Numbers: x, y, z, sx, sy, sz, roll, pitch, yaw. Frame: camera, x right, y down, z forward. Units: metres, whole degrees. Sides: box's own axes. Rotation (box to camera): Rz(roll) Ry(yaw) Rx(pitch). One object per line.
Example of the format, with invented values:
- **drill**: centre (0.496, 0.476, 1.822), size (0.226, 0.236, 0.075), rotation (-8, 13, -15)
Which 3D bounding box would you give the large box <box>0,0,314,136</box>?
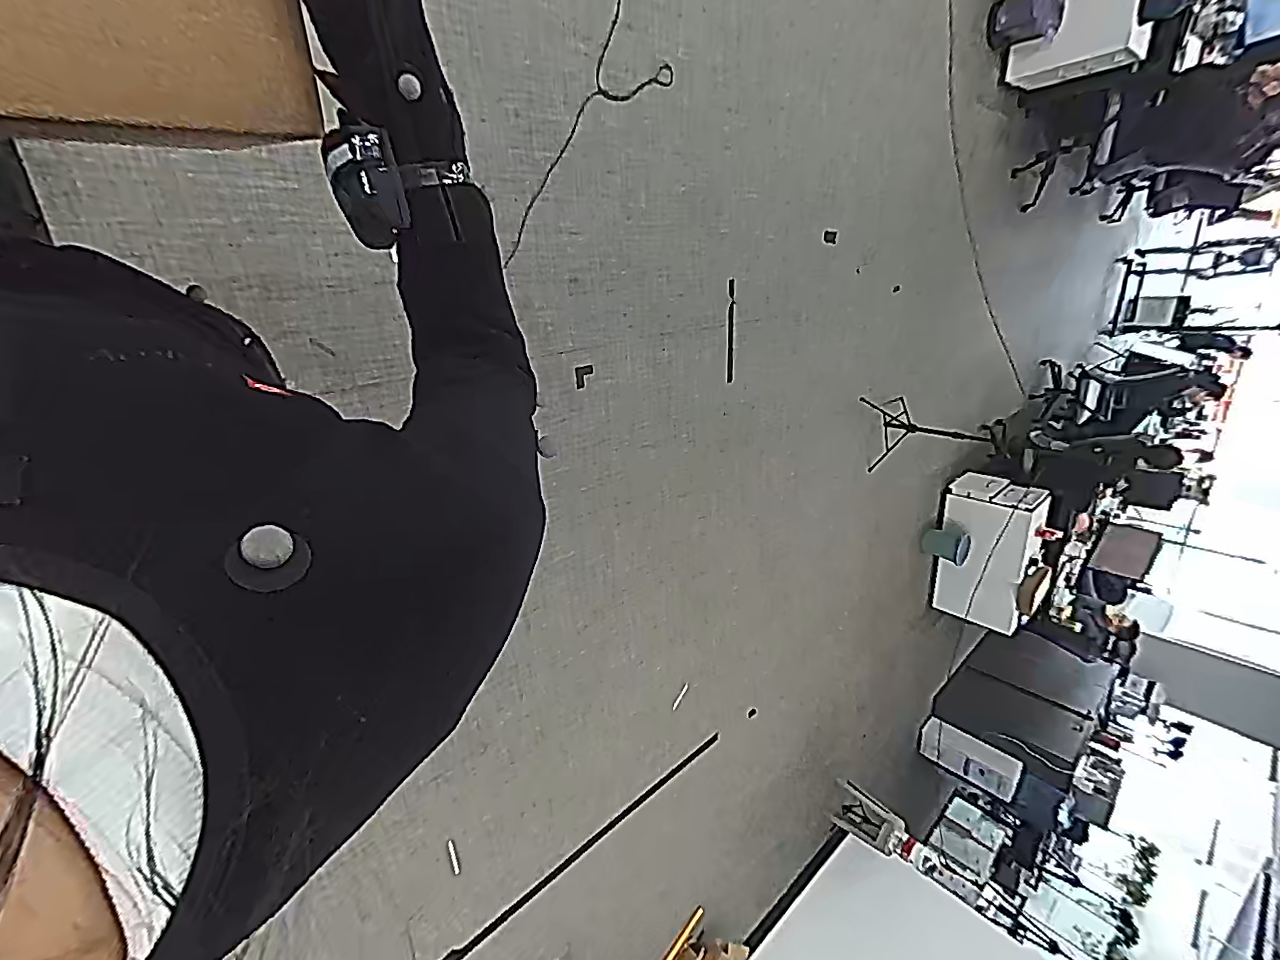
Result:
- **large box**: centre (-0.456, -0.362, 0.259), size (0.408, 0.320, 0.320), rotation (-23, 128, -37)
